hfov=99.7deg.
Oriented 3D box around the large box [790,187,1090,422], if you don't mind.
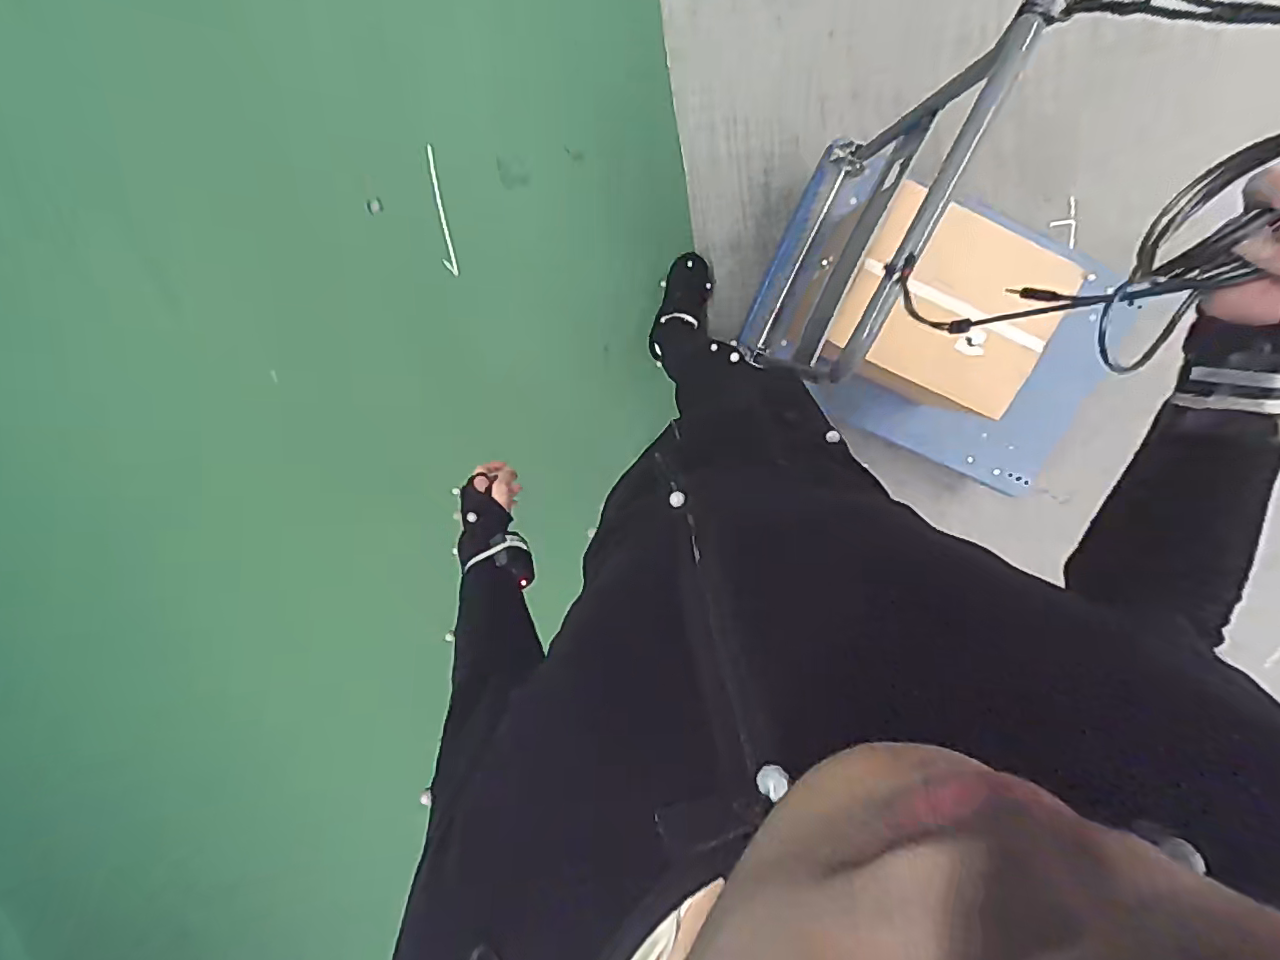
[{"bbox_3d":[0.602,-0.359,1.171,0.408,0.320,0.320,24,104,-5],"label":"large box"}]
